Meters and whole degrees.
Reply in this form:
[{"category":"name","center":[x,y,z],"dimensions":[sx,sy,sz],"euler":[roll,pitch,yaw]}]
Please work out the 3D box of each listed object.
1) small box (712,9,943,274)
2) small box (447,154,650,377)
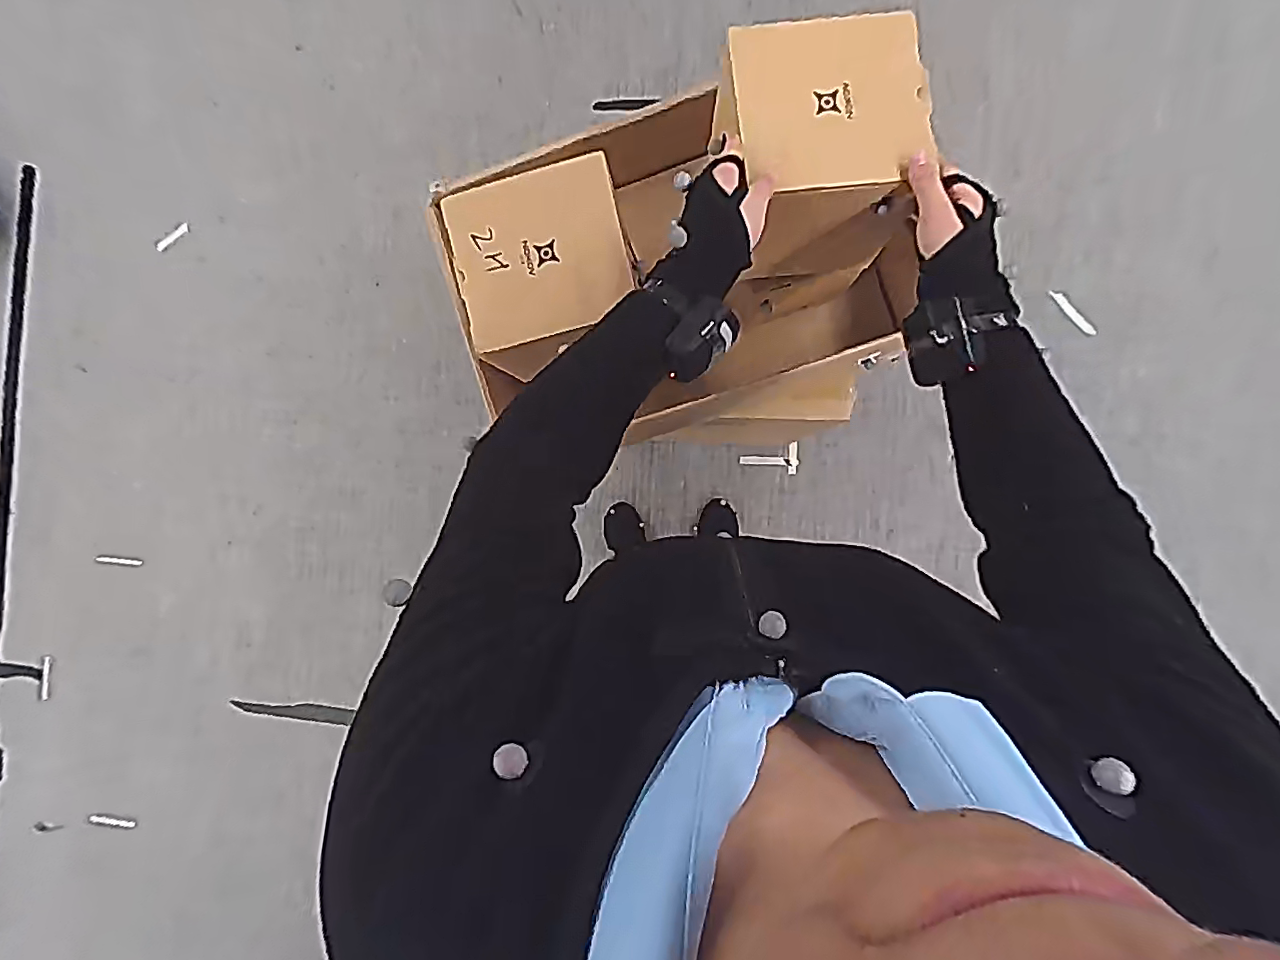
[{"category":"small box","center":[0.173,-0.331,0.561],"dimensions":[0.179,0.176,0.168],"euler":[-5,84,-1]},{"category":"small box","center":[-0.089,-0.227,0.620],"dimensions":[0.179,0.176,0.168],"euler":[-13,89,6]}]
